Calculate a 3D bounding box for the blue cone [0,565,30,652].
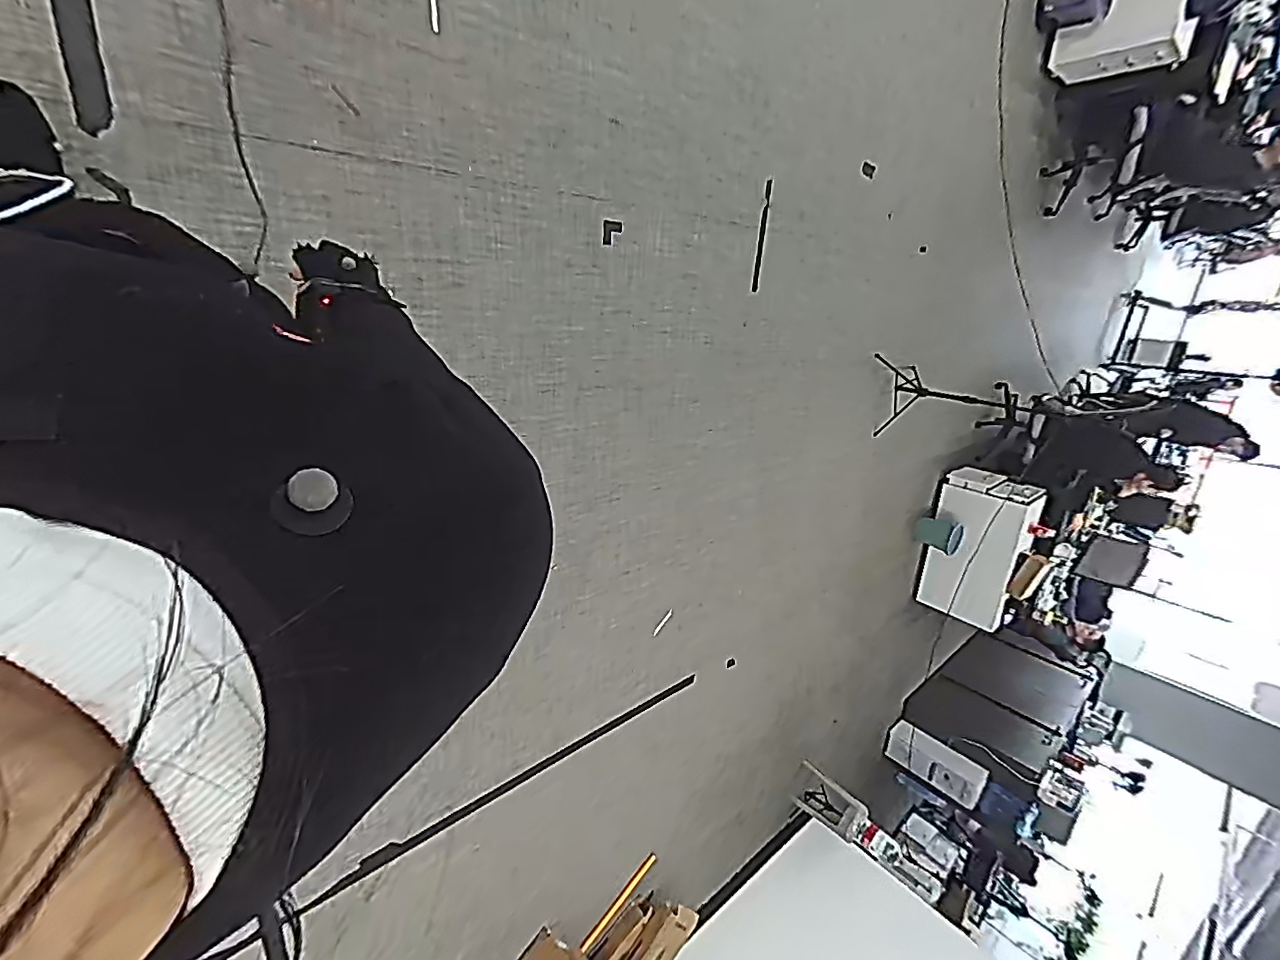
[{"bbox_3d":[-1.147,0.291,0.857,0.192,0.380,0.193,-7,110,-40],"label":"blue cone"}]
